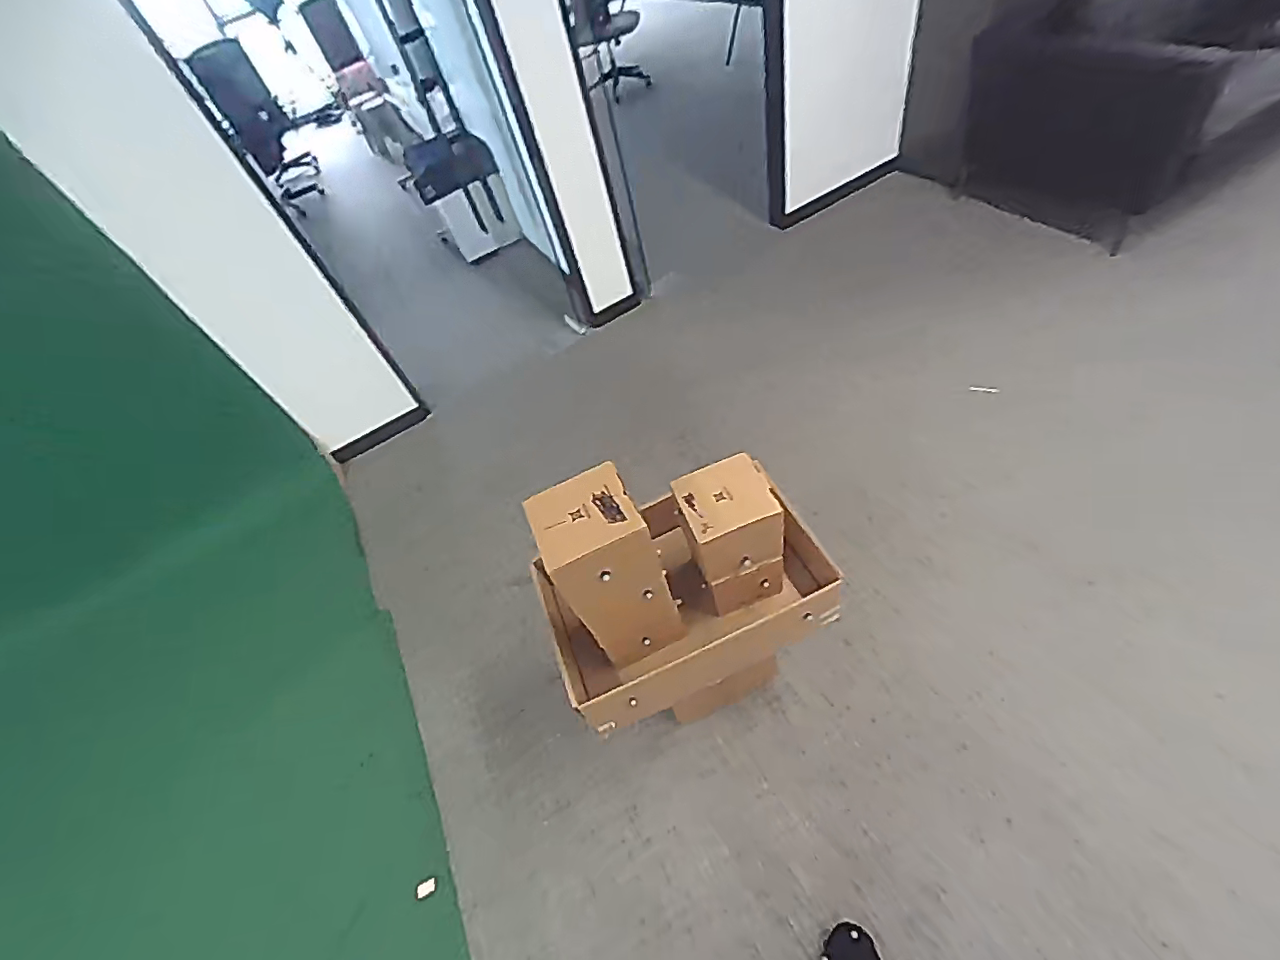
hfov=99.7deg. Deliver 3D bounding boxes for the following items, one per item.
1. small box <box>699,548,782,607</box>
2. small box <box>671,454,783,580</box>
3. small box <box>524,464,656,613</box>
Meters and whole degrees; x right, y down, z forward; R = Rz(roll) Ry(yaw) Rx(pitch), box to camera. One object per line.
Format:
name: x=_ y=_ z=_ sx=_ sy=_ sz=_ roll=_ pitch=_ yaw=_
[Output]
small box: x=0.222 y=0.176 z=1.257 sx=0.168 sy=0.176 sz=0.179 roll=-22 pitch=51 yaw=-1
small box: x=0.183 y=0.081 z=1.131 sx=0.179 sy=0.176 sz=0.168 roll=-22 pitch=51 yaw=-1
small box: x=-0.082 y=0.109 z=0.976 sx=0.179 sy=0.176 sz=0.168 roll=-26 pitch=51 yaw=-4
